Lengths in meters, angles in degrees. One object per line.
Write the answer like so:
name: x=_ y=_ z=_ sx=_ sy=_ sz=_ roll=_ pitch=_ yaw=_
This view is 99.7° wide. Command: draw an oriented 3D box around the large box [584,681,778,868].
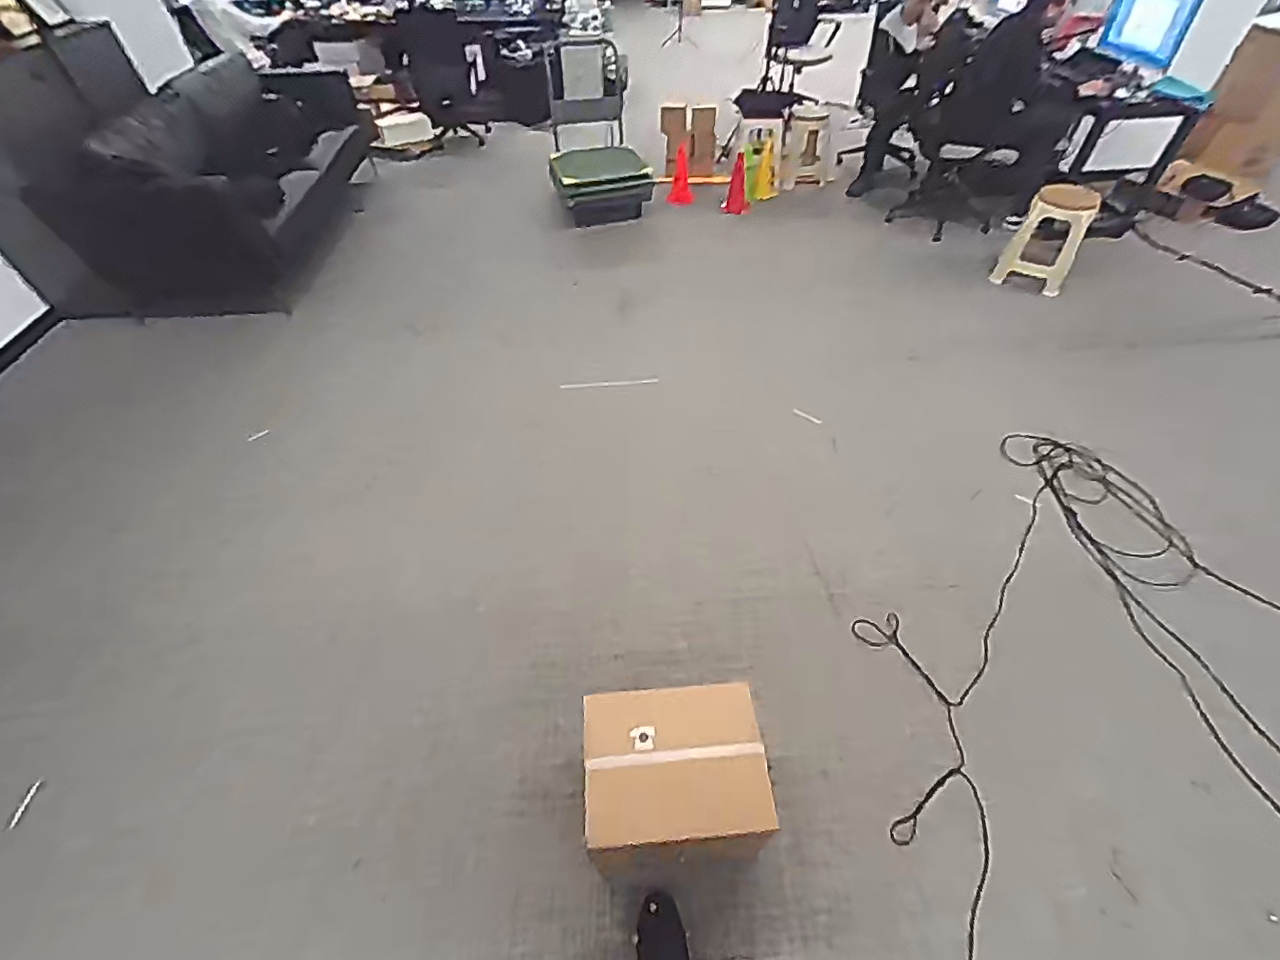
large box: x=0.084 y=0.726 z=1.327 sx=0.408 sy=0.320 sz=0.320 roll=-6 pitch=47 yaw=-2
